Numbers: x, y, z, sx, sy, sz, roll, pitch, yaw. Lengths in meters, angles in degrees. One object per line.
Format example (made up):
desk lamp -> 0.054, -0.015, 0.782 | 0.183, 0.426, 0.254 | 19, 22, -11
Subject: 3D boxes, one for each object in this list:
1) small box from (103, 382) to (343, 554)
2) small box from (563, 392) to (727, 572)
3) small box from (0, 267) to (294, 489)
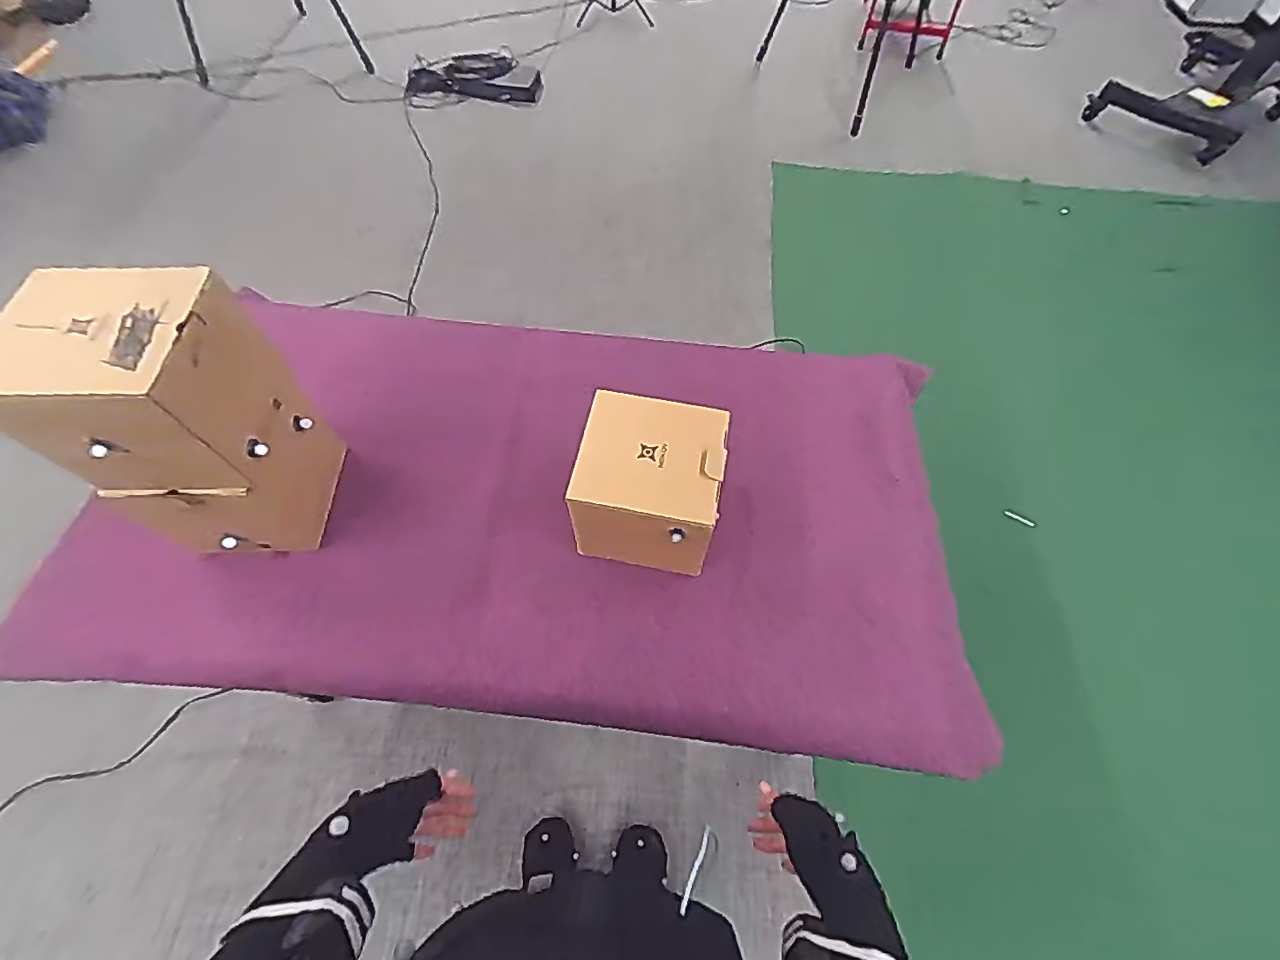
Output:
small box -> -0.527, -0.014, 0.721 | 0.168, 0.176, 0.179 | -1, 60, -1
small box -> 0.009, 0.009, 0.722 | 0.179, 0.176, 0.168 | 10, 60, 4
small box -> -0.517, -0.101, 0.578 | 0.179, 0.176, 0.168 | 1, 58, -1
